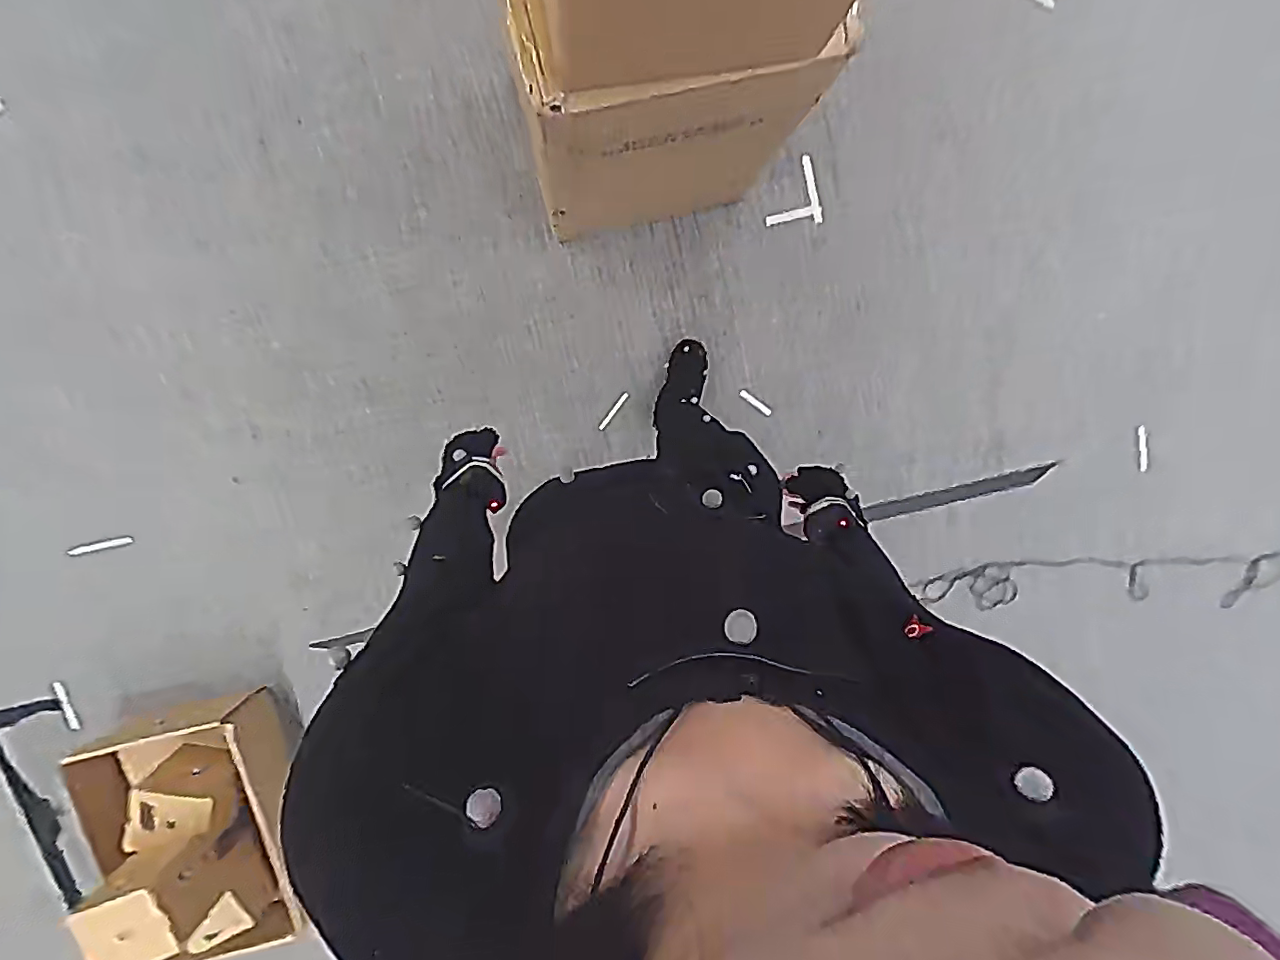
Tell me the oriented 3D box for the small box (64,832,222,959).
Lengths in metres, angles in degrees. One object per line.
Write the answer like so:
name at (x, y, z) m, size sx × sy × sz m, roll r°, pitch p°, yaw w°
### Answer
small box at (-1.087, 0.937, 1.207) m, size 0.179 × 0.176 × 0.168 m, roll -20°, pitch 98°, yaw -2°

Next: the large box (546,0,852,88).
large box at (0.068, -0.731, 0.628) m, size 0.408 × 0.320 × 0.320 m, roll -12°, pitch 100°, yaw -5°
